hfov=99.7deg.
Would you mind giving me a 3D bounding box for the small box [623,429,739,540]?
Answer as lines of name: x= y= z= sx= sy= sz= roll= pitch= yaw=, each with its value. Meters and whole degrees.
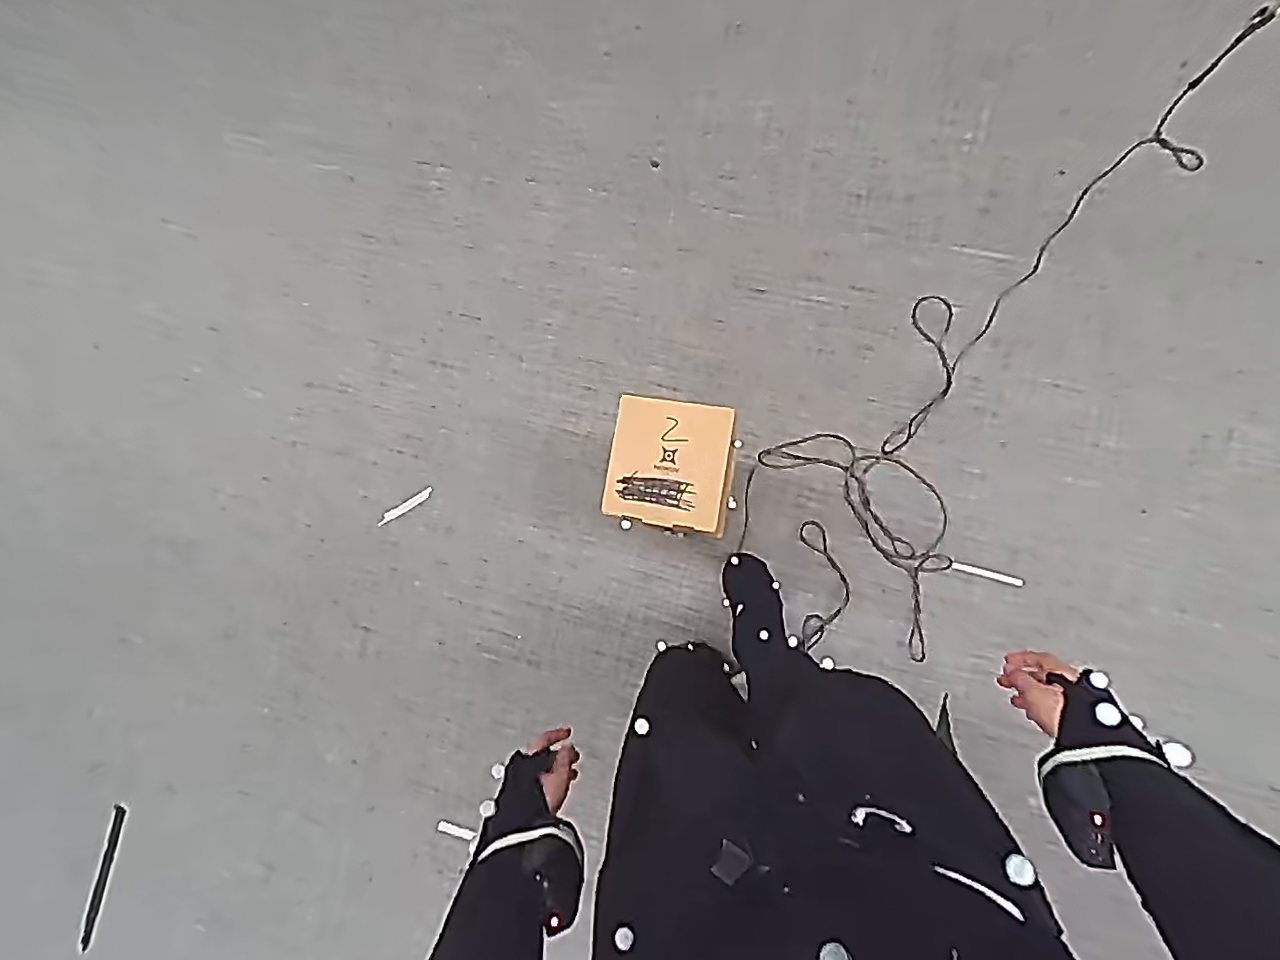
small box: x=0.083 y=0.011 z=0.992 sx=0.179 sy=0.176 sz=0.168 roll=9 pitch=87 yaw=12
